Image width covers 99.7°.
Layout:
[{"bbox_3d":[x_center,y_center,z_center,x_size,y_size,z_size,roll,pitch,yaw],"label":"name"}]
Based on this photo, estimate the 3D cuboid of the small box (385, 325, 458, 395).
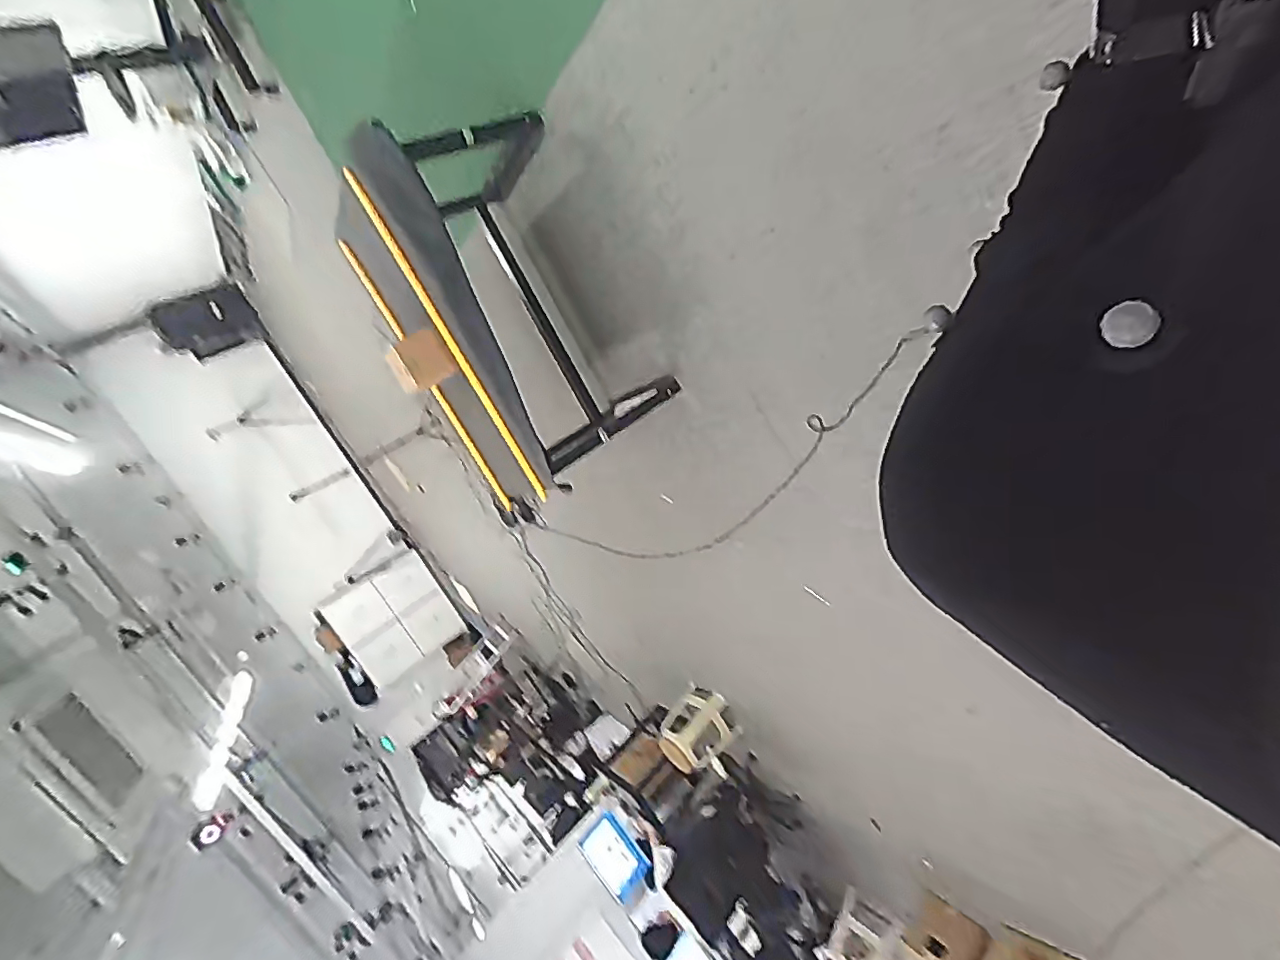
[{"bbox_3d":[-0.772,-0.423,1.914,0.179,0.176,0.168,-7,116,58],"label":"small box"}]
